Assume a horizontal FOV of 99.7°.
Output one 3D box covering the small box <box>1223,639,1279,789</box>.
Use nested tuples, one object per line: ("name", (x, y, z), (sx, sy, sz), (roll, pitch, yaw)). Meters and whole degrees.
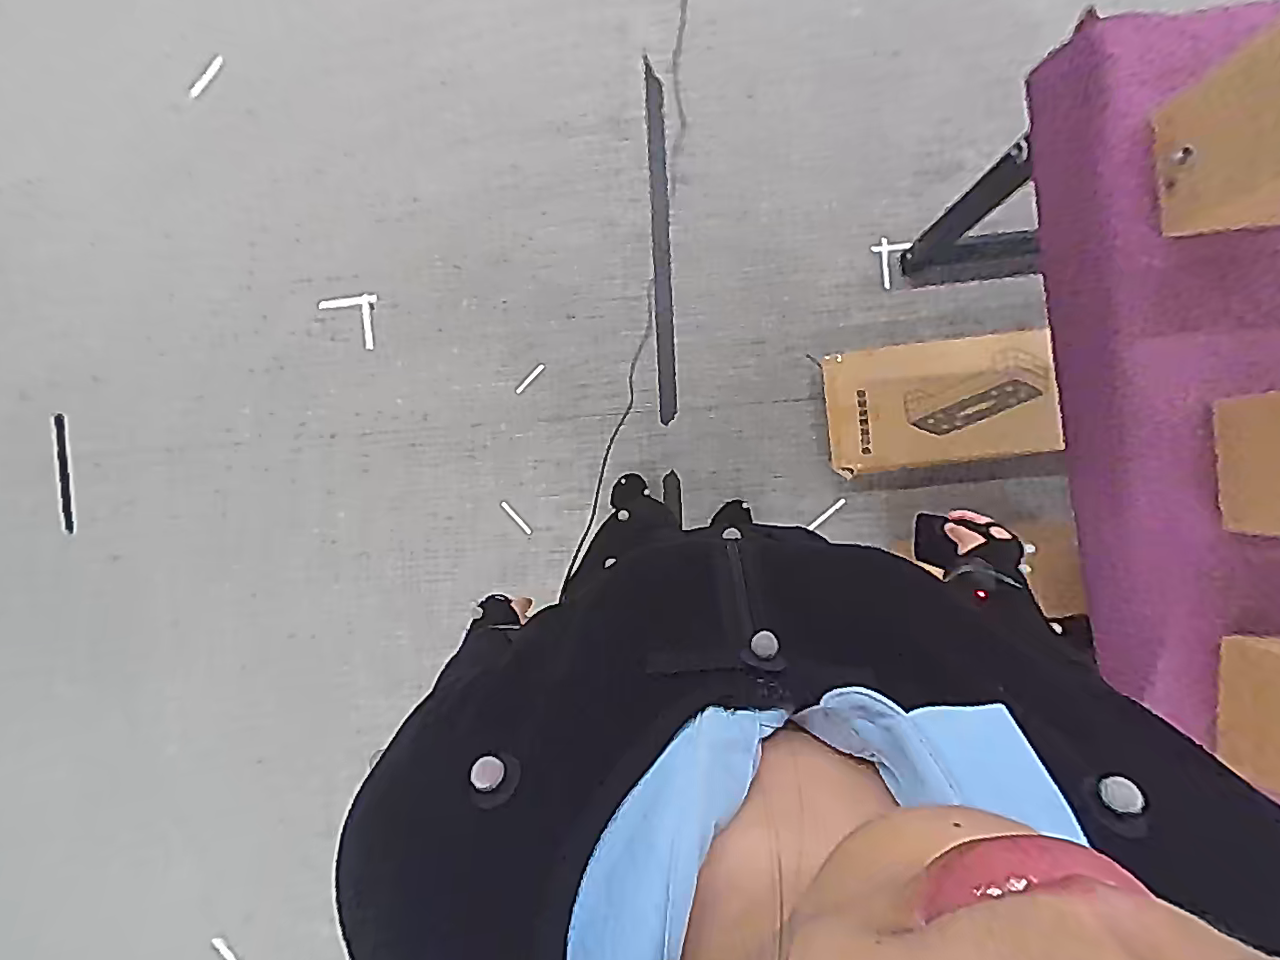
("small box", (0.854, 0.296, 0.635), (0.168, 0.176, 0.179), (2, 91, 4))

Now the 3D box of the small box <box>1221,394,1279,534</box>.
("small box", (0.848, -0.022, 0.630), (0.168, 0.176, 0.179), (-6, 90, 2))
